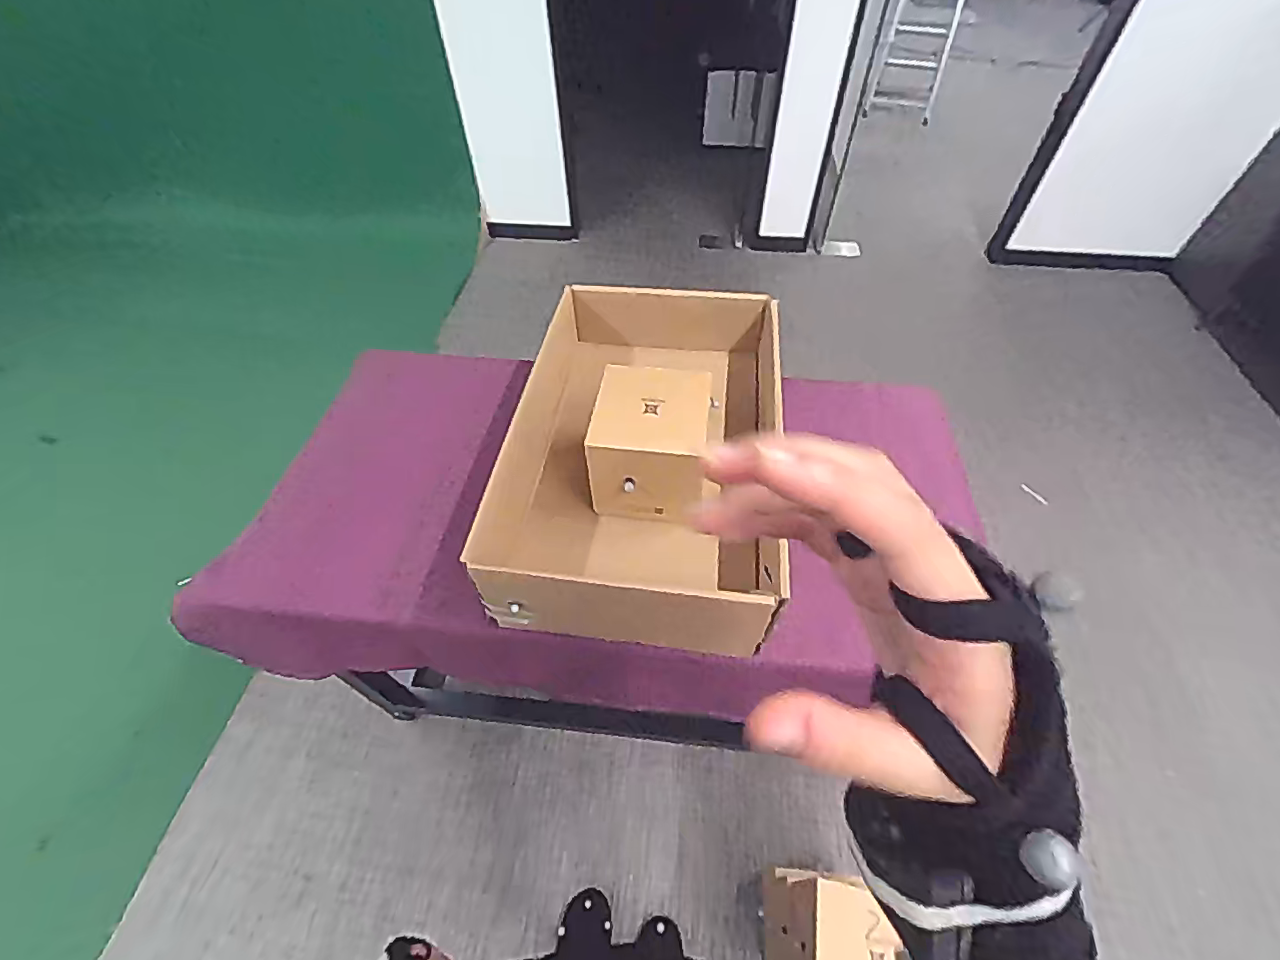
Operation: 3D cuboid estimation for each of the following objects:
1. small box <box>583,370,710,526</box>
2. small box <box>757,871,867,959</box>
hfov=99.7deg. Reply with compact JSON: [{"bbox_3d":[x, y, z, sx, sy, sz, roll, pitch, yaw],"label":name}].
[{"bbox_3d":[0.017,-0.047,0.842,0.168,0.176,0.179,5,51,6],"label":"small box"},{"bbox_3d":[0.337,0.897,1.086,0.179,0.176,0.168,3,52,5],"label":"small box"}]
